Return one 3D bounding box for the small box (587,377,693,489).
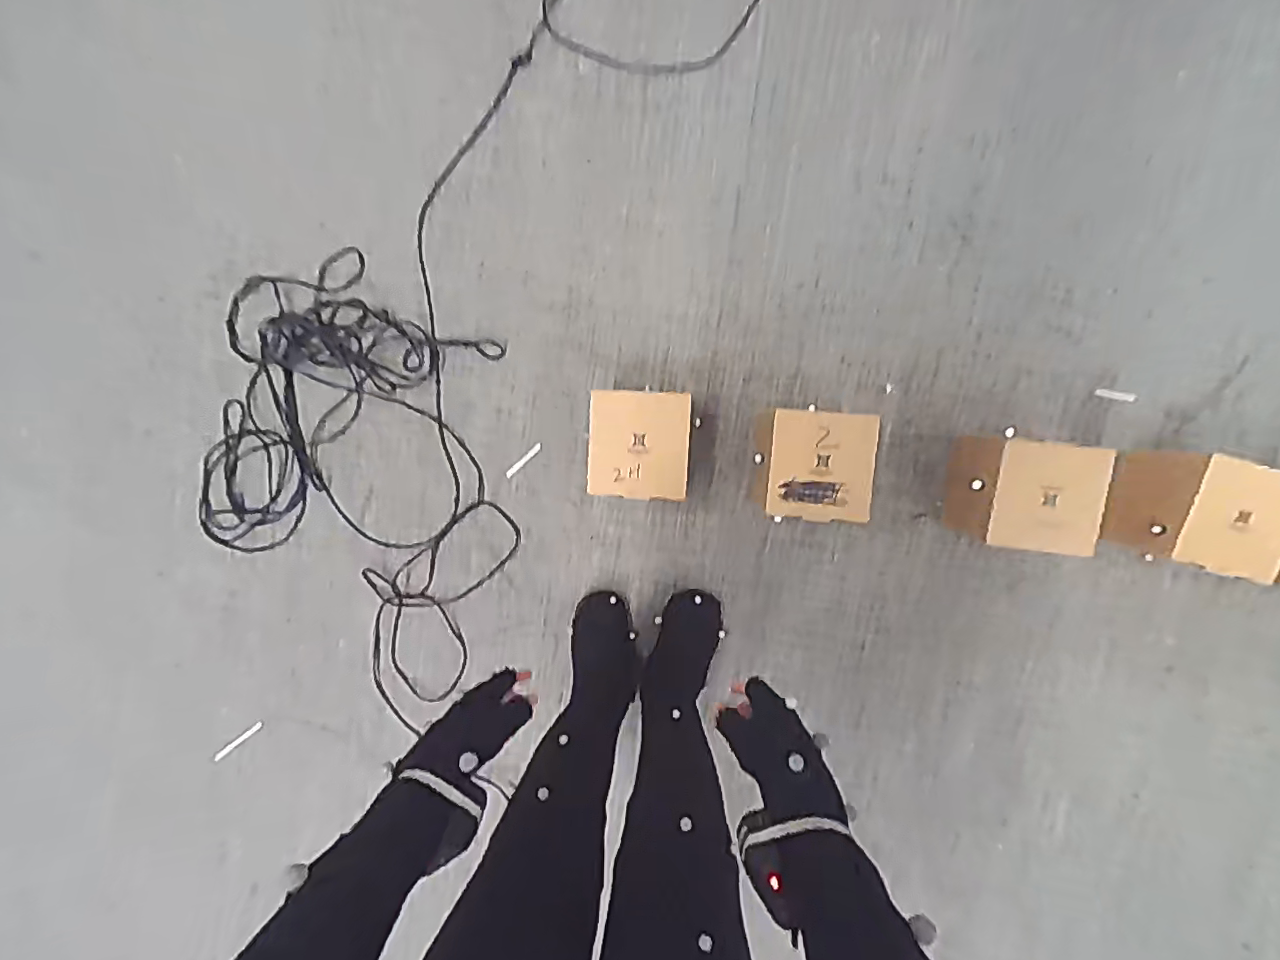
[{"bbox_3d":[0.003,-0.086,0.957,0.168,0.176,0.179,3,98,4],"label":"small box"}]

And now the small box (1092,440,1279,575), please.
[{"bbox_3d":[0.927,0.035,0.917,0.168,0.176,0.179,16,99,1],"label":"small box"}]

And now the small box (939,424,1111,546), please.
[{"bbox_3d":[0.644,0.000,0.929,0.168,0.176,0.179,7,99,4],"label":"small box"}]
